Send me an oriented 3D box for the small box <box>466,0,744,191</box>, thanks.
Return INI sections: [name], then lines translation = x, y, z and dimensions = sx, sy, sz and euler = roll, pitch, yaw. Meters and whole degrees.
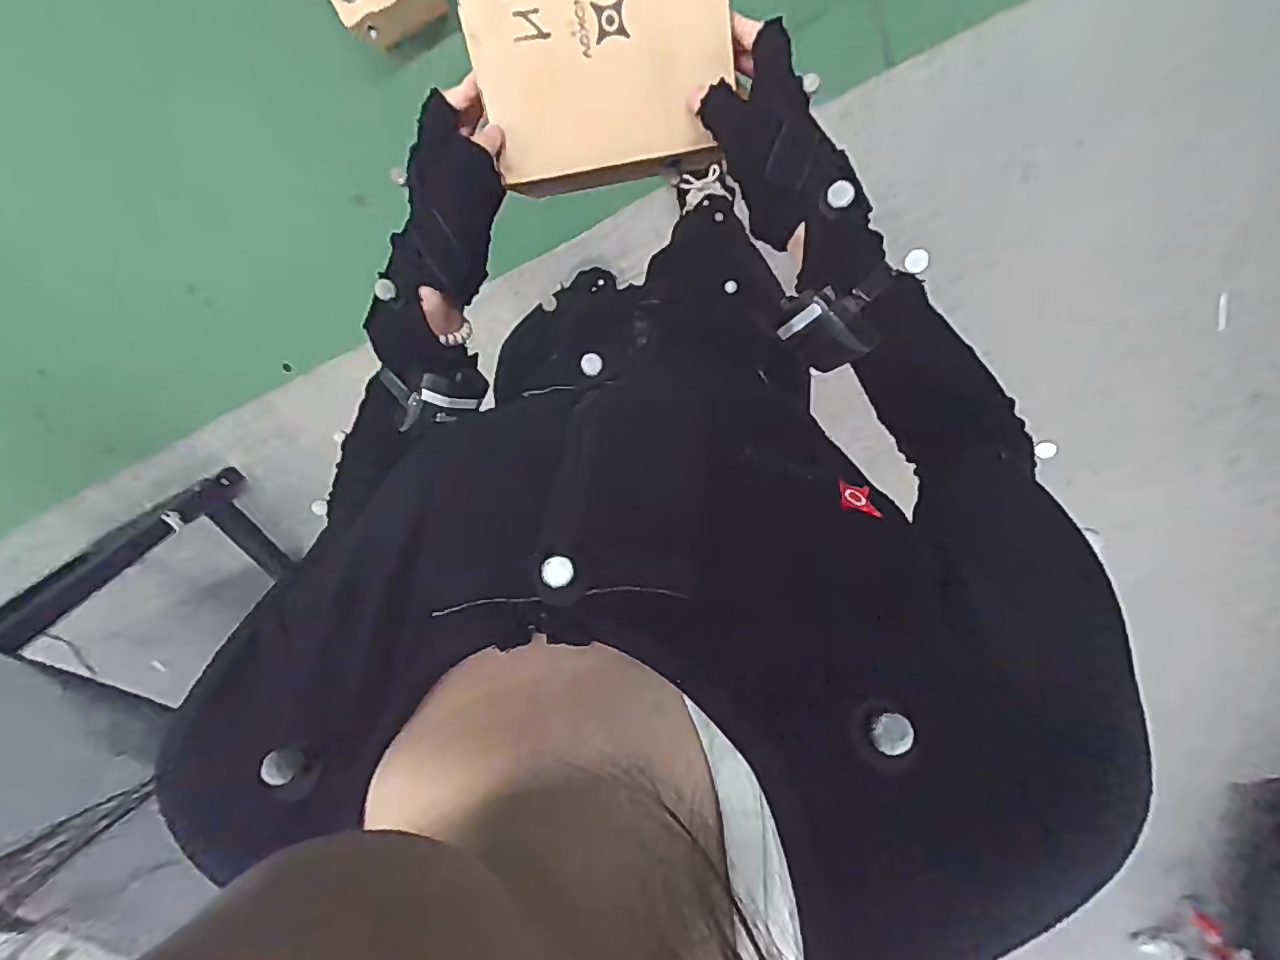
[small box]
translation = -0.027, -0.335, 0.425
dimensions = 0.179, 0.176, 0.168
euler = -9, 115, 2
